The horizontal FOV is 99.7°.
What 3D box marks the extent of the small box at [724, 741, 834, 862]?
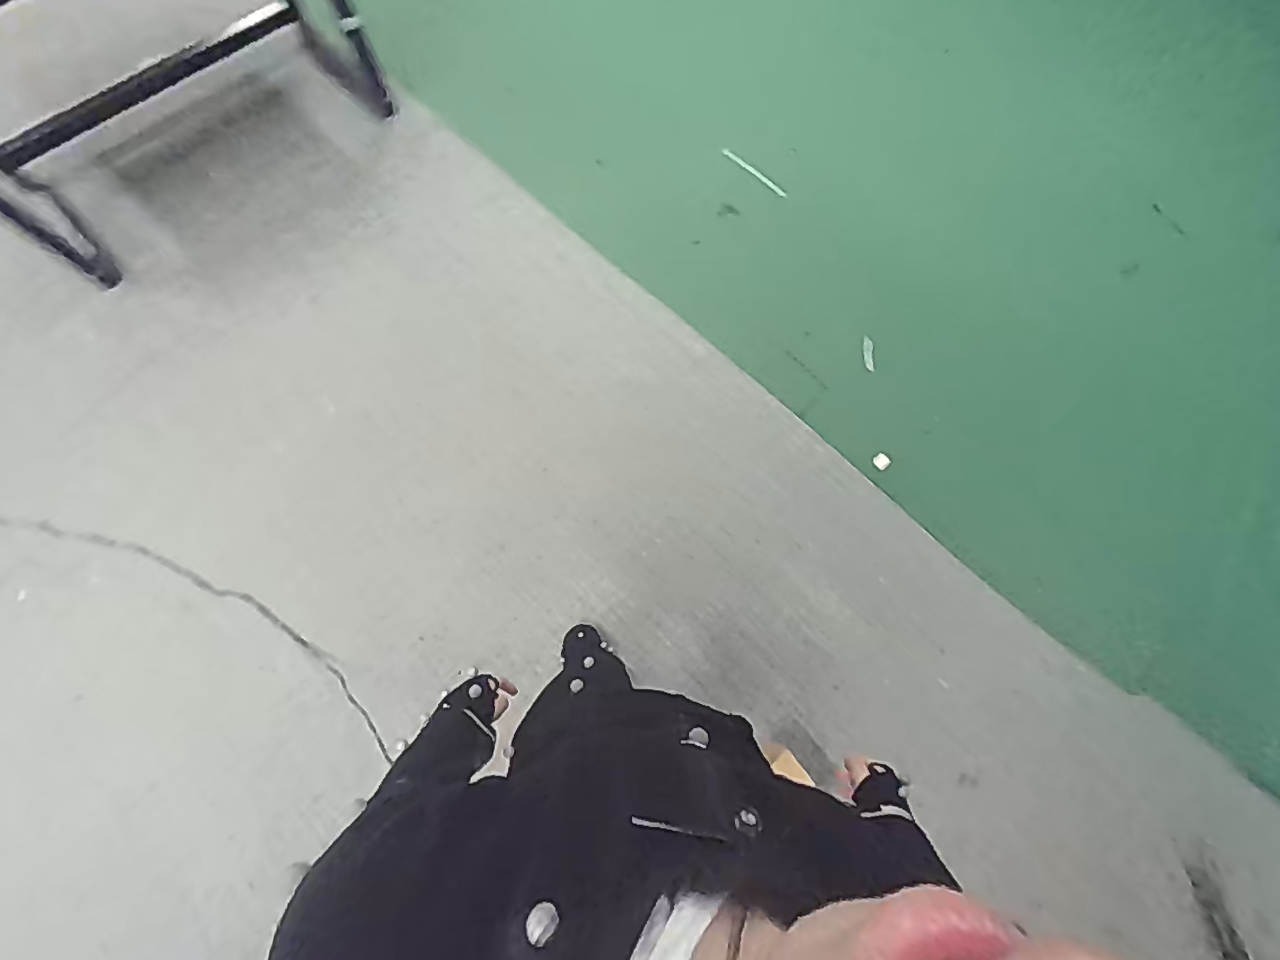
[{"bbox_3d":[0.328,0.766,1.313,0.168,0.176,0.179,-36,76,-12],"label":"small box"}]
